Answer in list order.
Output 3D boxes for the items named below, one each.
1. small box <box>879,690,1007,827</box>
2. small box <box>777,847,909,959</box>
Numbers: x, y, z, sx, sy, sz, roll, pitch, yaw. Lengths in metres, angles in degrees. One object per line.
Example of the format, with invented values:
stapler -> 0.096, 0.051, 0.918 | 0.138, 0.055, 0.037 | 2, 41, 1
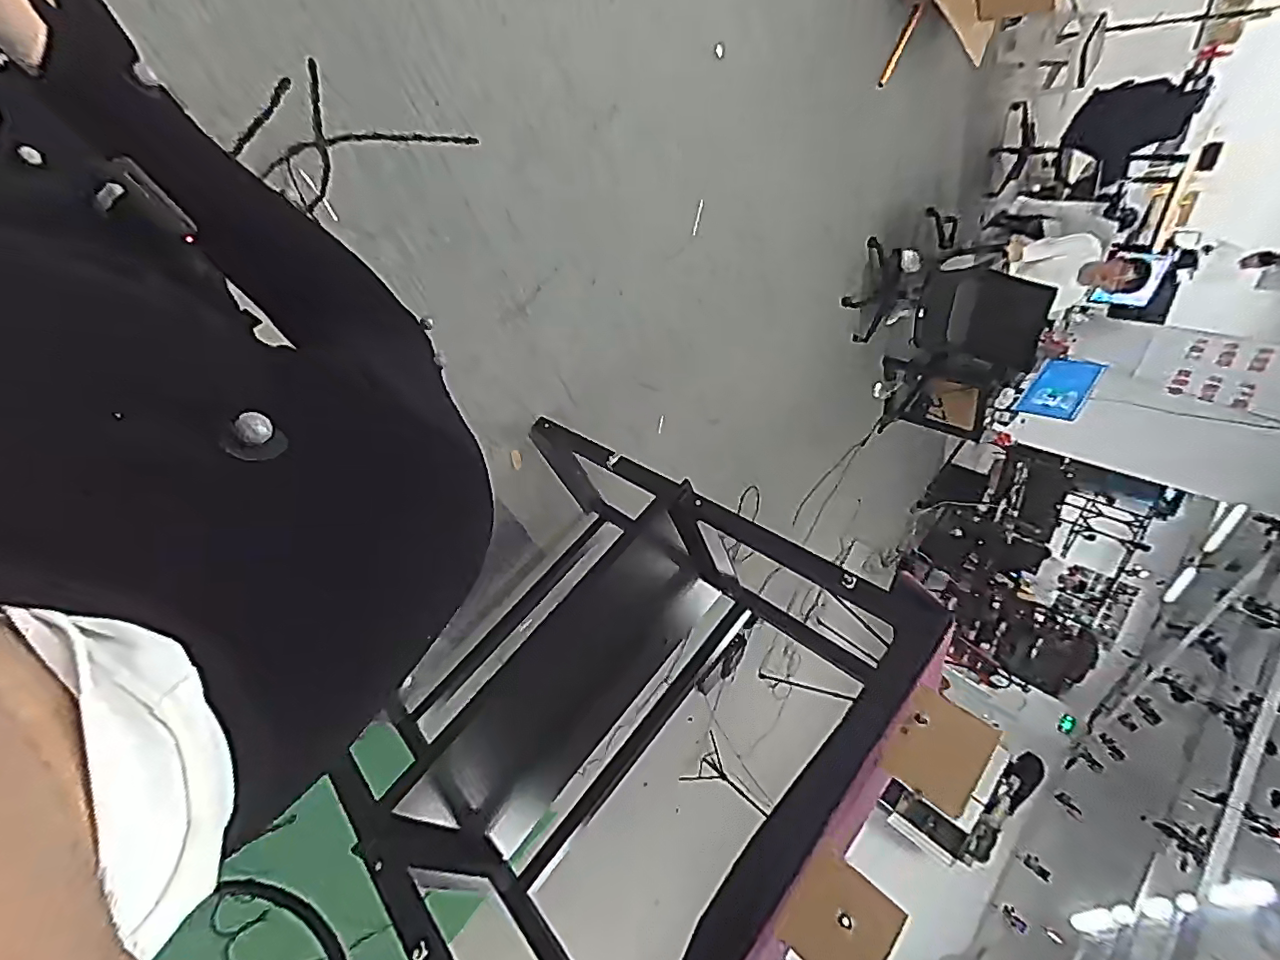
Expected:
small box -> 0.600, 0.557, 1.091 | 0.168, 0.176, 0.179 | -48, 140, -17
small box -> 0.364, 0.822, 0.986 | 0.179, 0.176, 0.168 | -47, 140, -20
